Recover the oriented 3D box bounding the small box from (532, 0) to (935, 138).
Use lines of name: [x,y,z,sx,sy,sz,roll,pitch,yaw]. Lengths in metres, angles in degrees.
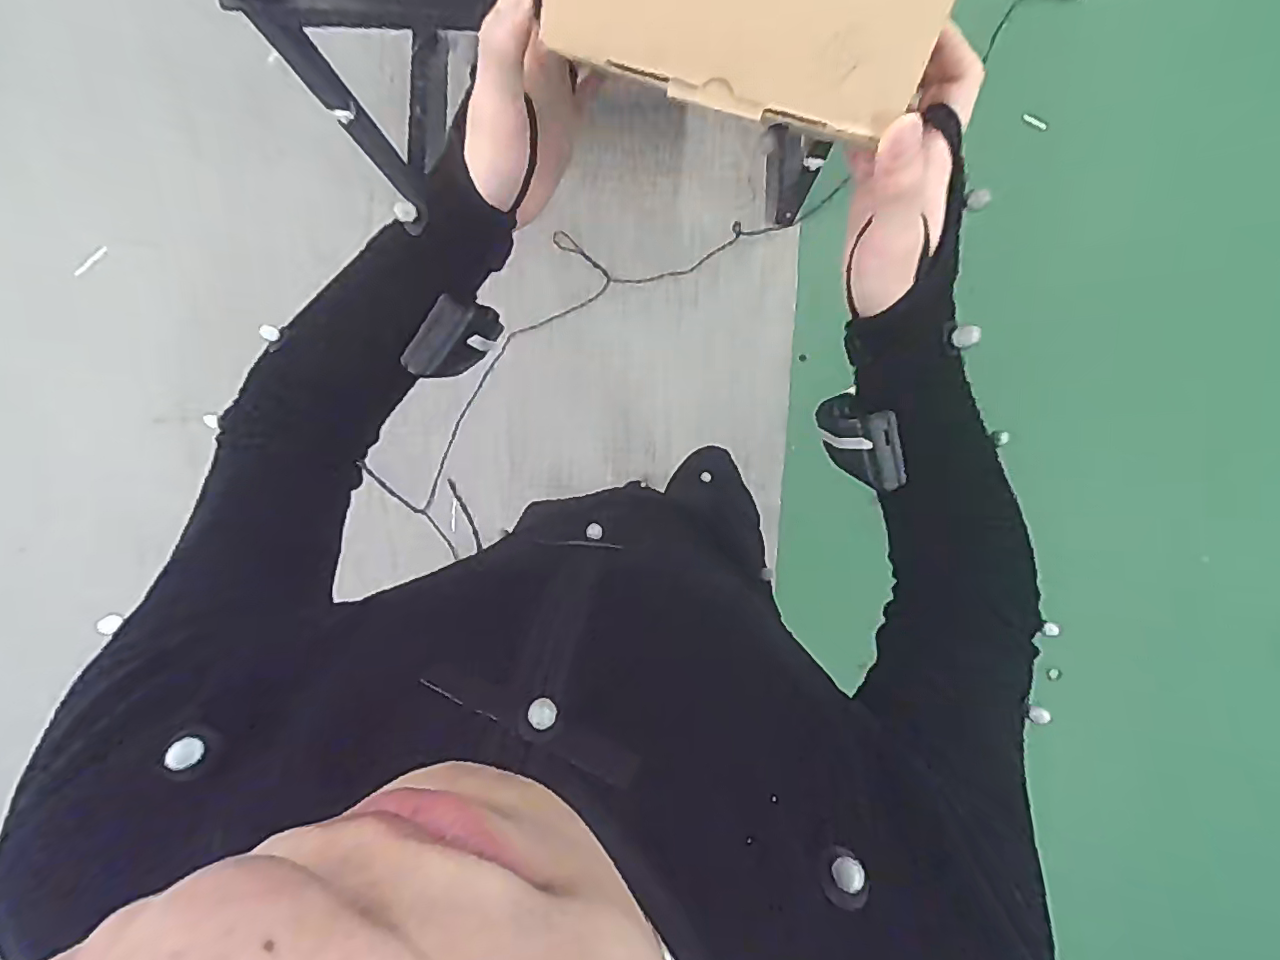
small box: [0.060,-0.287,0.257,0.168,0.176,0.179,15,125,-2]
